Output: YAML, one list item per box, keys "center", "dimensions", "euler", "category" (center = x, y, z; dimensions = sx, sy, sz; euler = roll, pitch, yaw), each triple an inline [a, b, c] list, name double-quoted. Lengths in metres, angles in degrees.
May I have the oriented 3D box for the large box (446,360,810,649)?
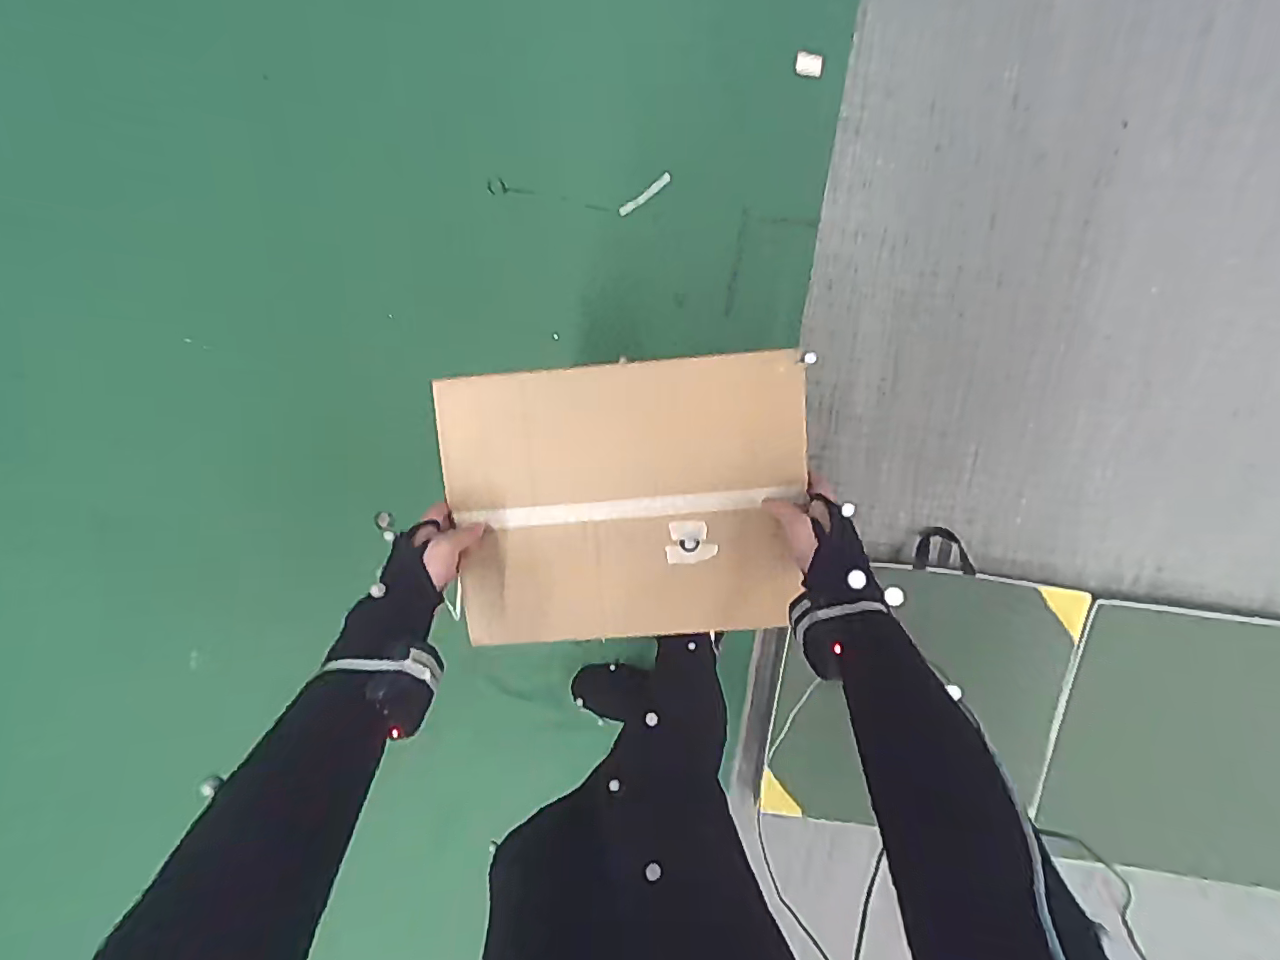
- center: [-0.007, 0.014, 0.769]
  dimensions: [0.408, 0.320, 0.320]
  euler: [-4, 100, 2]
  category: "large box"
